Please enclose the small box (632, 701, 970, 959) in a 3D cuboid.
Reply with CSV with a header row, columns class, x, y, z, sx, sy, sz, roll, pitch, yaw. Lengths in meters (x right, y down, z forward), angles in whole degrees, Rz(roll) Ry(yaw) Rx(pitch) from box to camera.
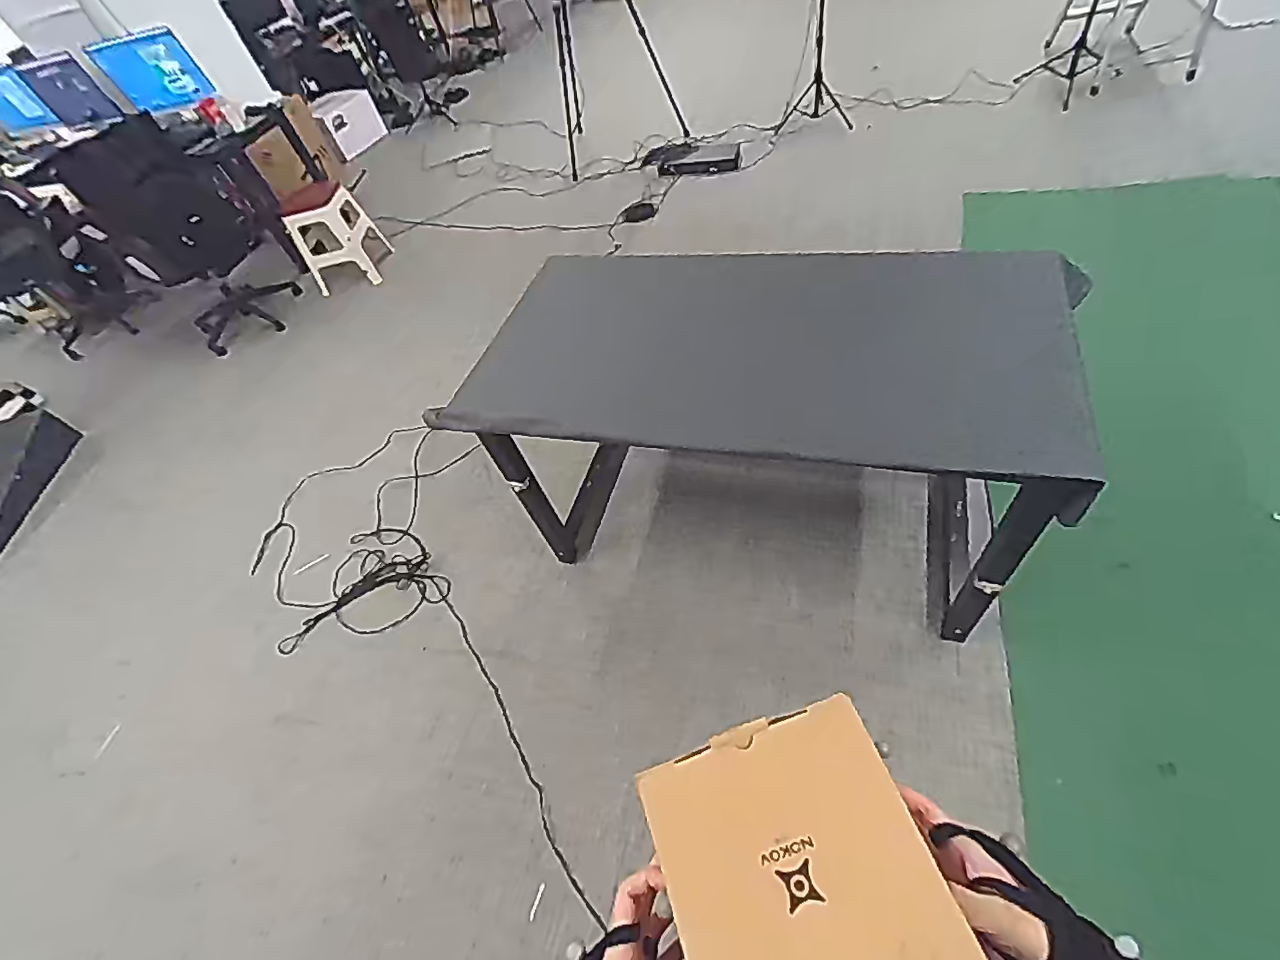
class,x,y,z,sx,sy,sz,roll,pitch,yaw
small box,0.112,0.295,0.406,0.168,0.176,0.179,-22,53,1
